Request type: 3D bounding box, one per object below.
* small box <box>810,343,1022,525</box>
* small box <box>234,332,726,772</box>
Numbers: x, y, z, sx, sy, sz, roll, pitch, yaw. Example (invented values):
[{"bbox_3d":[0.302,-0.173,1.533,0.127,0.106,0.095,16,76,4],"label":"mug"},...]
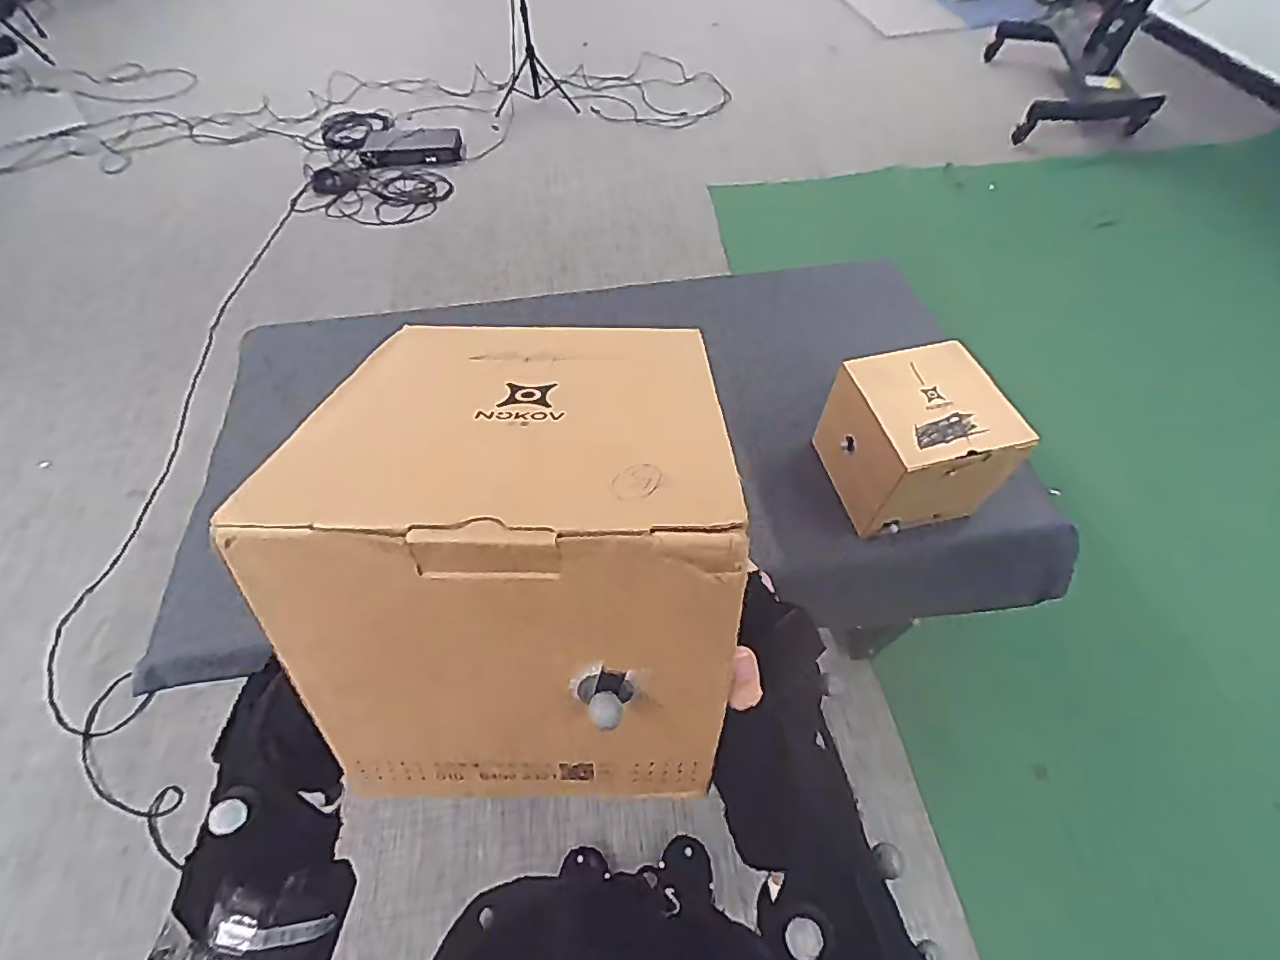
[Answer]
[{"bbox_3d":[0.352,-0.054,0.733,0.168,0.176,0.179,-11,57,-6],"label":"small box"},{"bbox_3d":[-0.053,0.032,0.289,0.168,0.176,0.179,1,34,-2],"label":"small box"}]
